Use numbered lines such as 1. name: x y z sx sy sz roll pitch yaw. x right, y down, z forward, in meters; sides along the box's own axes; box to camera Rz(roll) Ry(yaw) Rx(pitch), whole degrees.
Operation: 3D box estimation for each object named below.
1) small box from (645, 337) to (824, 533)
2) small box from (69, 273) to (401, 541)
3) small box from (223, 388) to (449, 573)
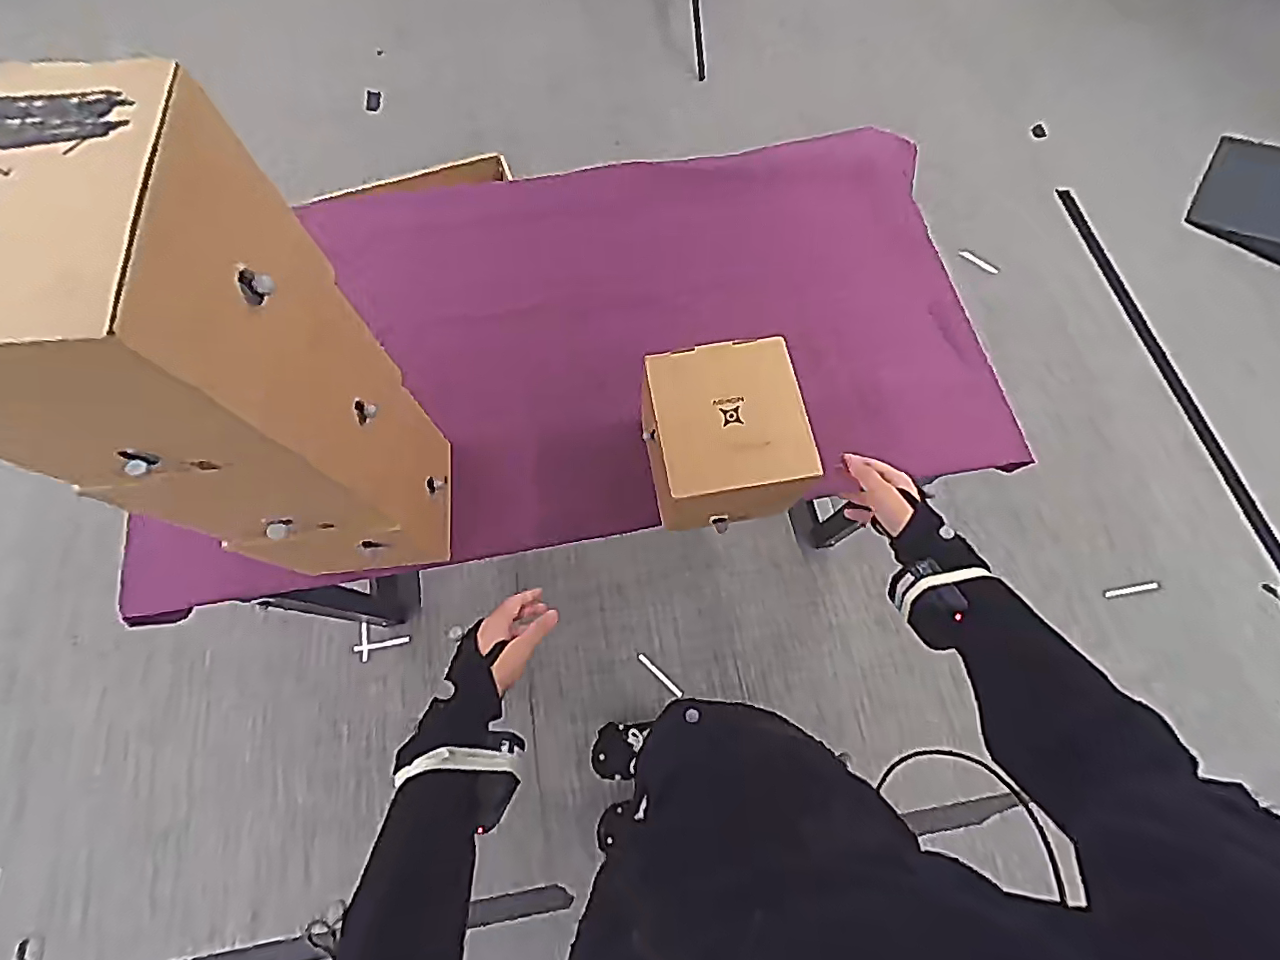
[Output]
1. small box: 0.099 -0.047 0.665 0.168 0.176 0.179 -10 72 -3
2. small box: -0.329 -0.055 0.484 0.168 0.176 0.179 -6 72 -4
3. small box: -0.334 0.009 0.636 0.179 0.176 0.168 -6 70 -3
